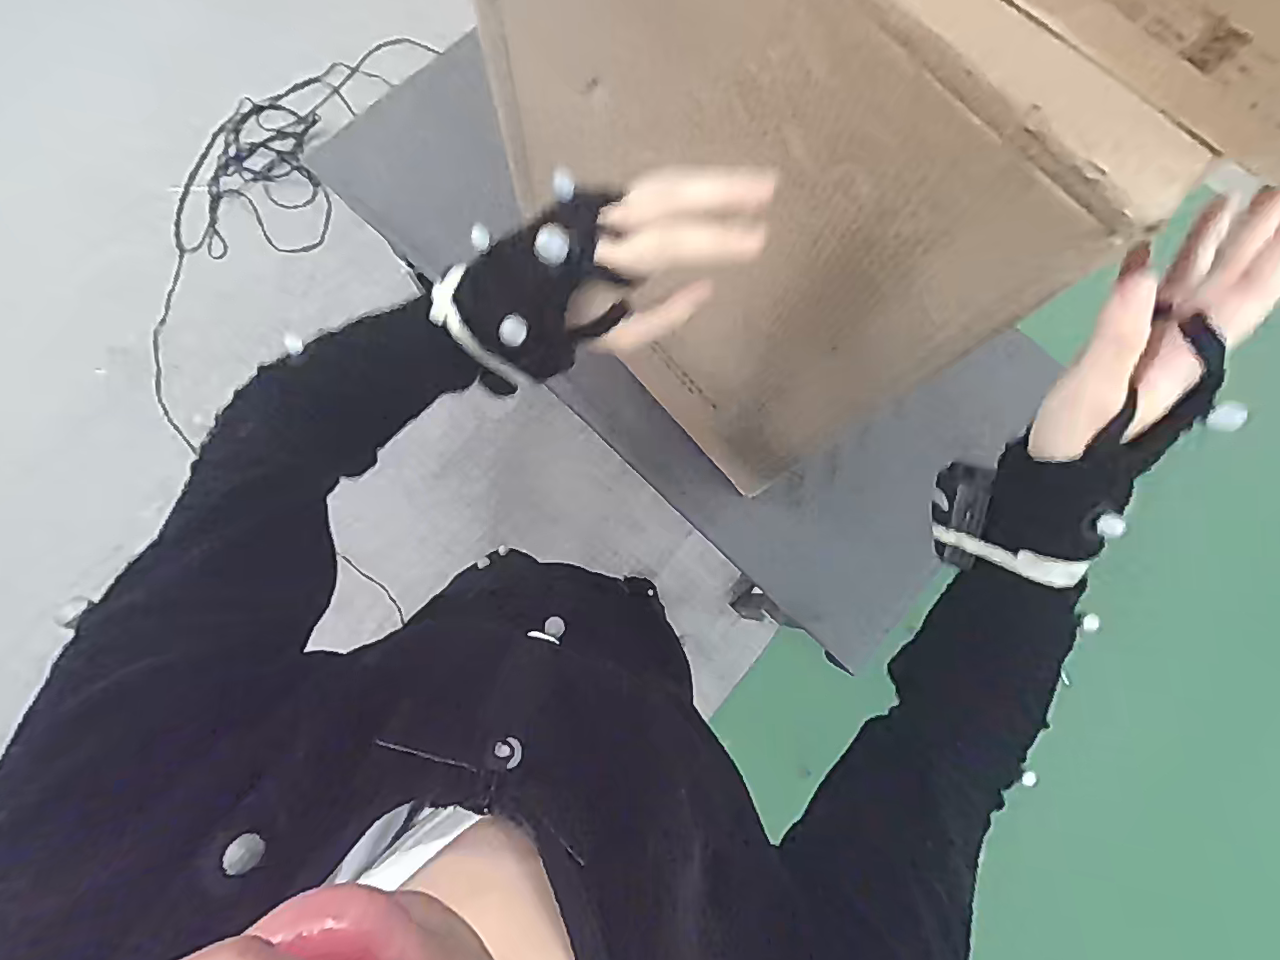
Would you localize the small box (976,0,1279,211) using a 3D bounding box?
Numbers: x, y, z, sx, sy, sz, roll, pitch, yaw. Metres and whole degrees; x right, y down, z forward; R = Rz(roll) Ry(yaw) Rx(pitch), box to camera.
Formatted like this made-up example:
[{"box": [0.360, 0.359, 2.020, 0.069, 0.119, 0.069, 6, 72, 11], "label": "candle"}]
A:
[{"box": [0.255, -0.234, 0.166, 0.168, 0.176, 0.179, 39, 82, 2], "label": "small box"}]
